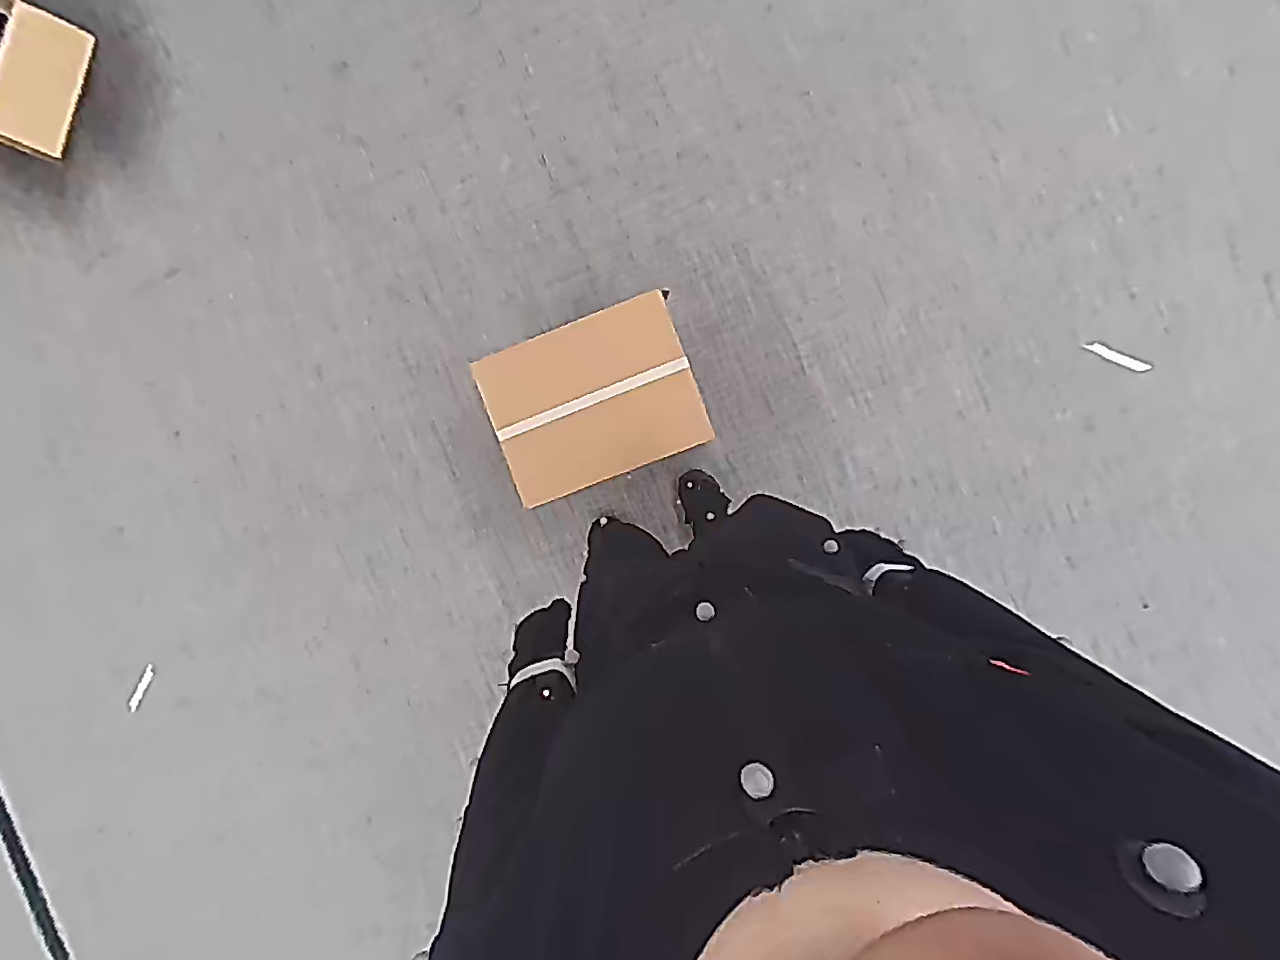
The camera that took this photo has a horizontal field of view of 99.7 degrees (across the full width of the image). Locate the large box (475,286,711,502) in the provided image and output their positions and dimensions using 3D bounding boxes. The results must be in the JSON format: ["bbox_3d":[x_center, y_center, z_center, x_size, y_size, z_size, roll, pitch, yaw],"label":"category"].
[{"bbox_3d":[-0.089,-0.172,1.218,0.408,0.320,0.320,-21,93,4],"label":"large box"}]
